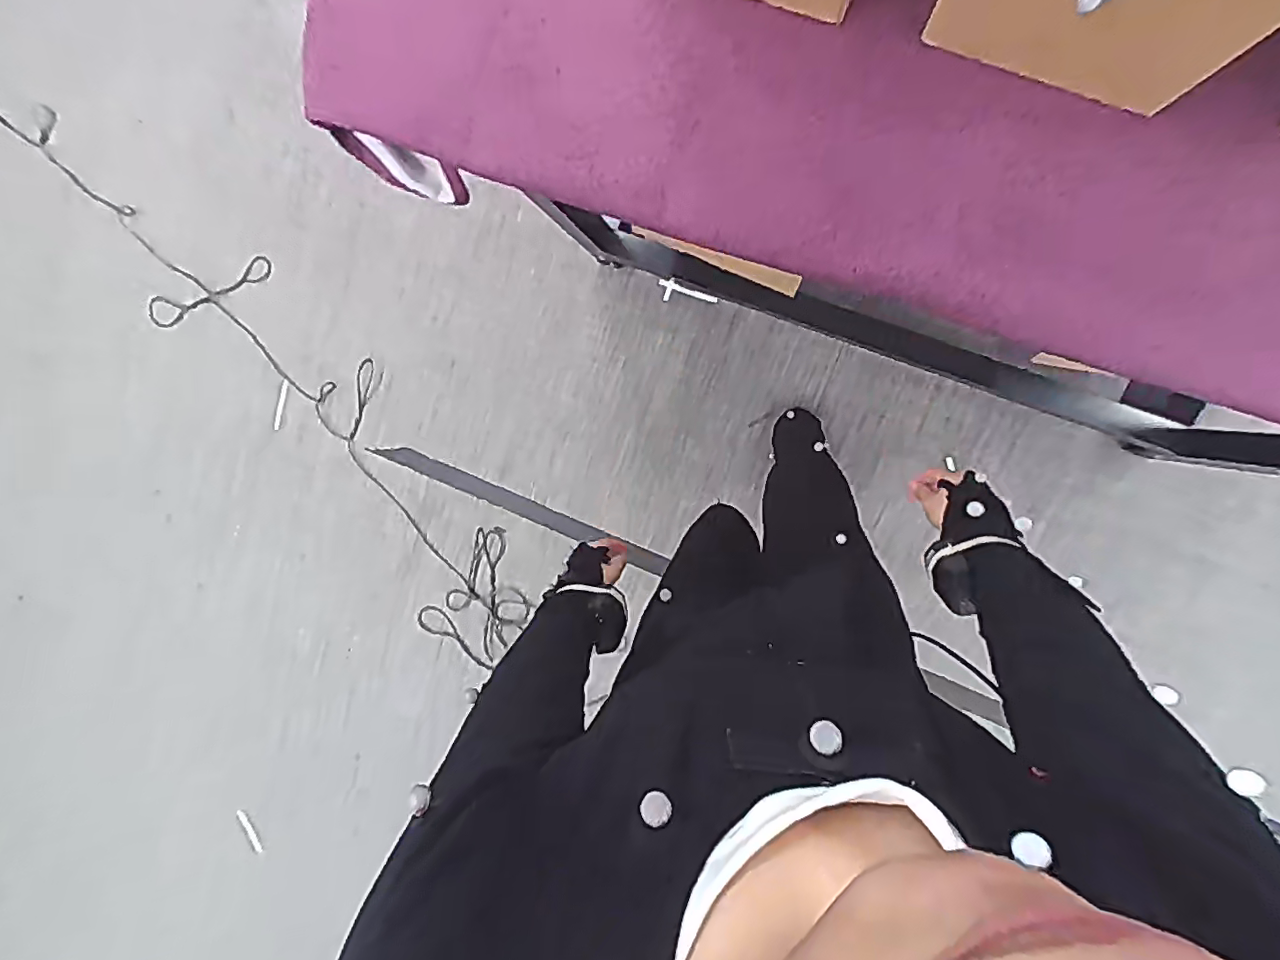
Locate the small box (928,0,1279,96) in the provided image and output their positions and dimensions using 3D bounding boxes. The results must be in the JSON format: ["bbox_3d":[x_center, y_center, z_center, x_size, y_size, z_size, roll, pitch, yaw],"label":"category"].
[{"bbox_3d":[0.303,-0.359,0.302,0.179,0.176,0.168,25,102,8],"label":"small box"}]
